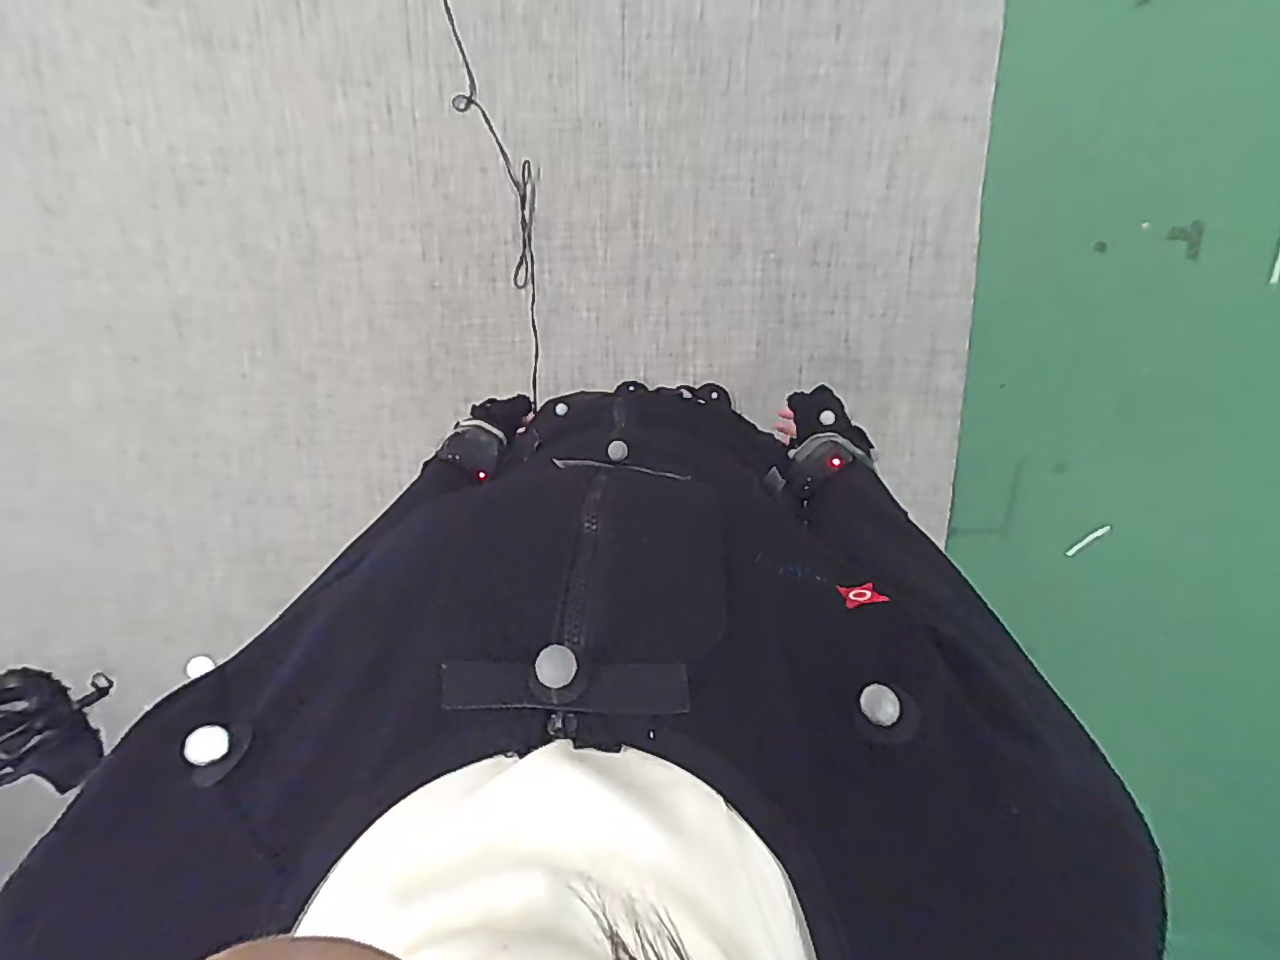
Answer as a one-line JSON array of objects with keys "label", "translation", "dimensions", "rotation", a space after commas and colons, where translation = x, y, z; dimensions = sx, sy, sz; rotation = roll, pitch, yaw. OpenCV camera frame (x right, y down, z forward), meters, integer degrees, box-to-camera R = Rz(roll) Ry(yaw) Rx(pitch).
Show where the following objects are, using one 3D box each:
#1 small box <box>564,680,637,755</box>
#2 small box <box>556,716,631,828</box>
[{"label": "small box", "translation": [-0.105, 0.673, 1.491], "dimensions": [0.179, 0.176, 0.168], "rotation": [3, 101, 4]}, {"label": "small box", "translation": [-0.110, 0.715, 1.334], "dimensions": [0.168, 0.176, 0.179], "rotation": [2, 100, 2]}]
